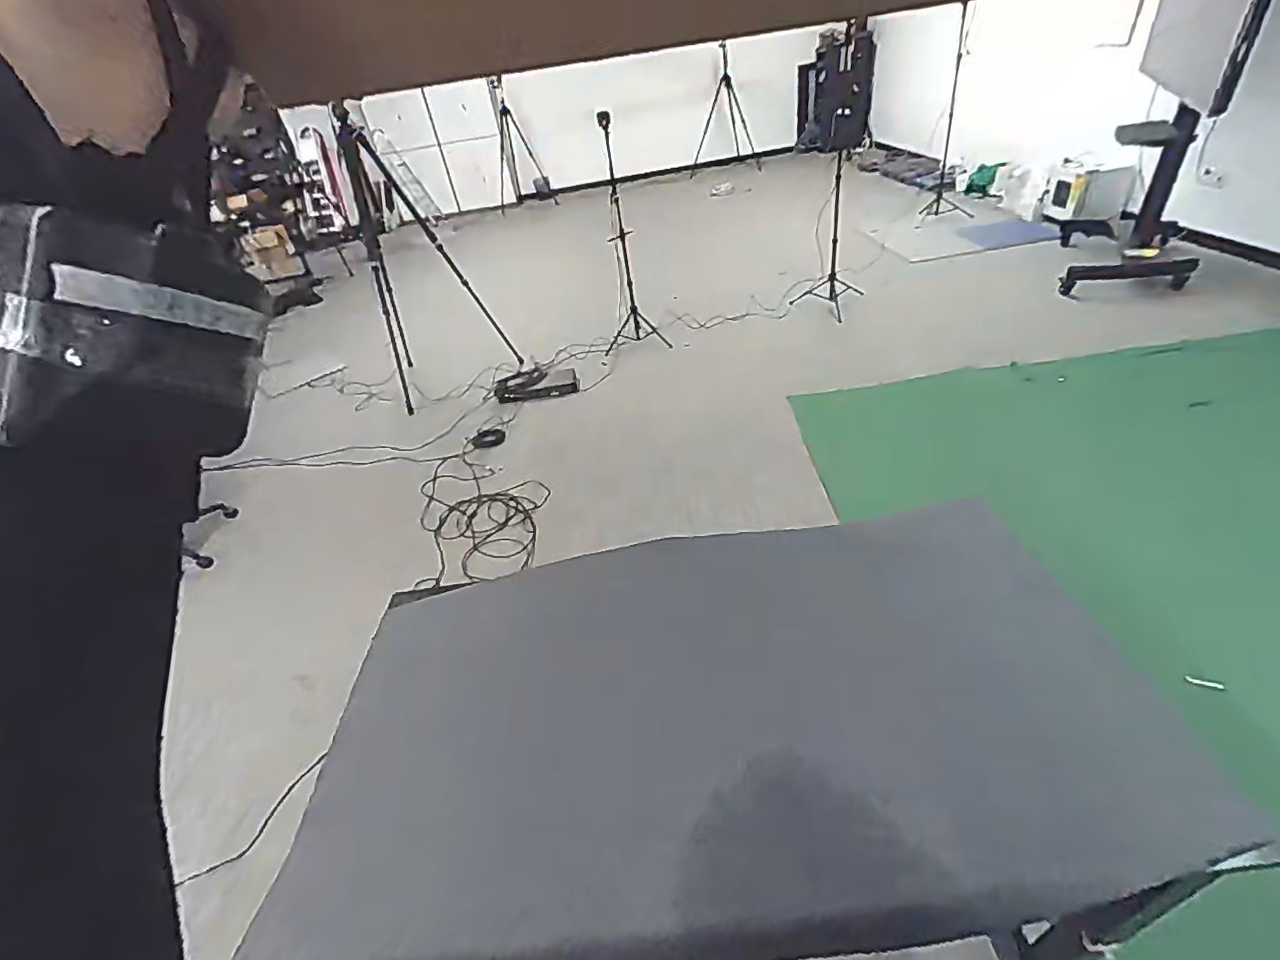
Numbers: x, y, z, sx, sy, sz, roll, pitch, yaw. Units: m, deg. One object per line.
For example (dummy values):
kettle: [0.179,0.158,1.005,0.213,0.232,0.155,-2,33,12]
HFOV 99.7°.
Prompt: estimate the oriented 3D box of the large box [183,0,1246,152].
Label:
large box: [0.025,-0.349,0.135,0.408,0.320,0.320,-7,67,3]
